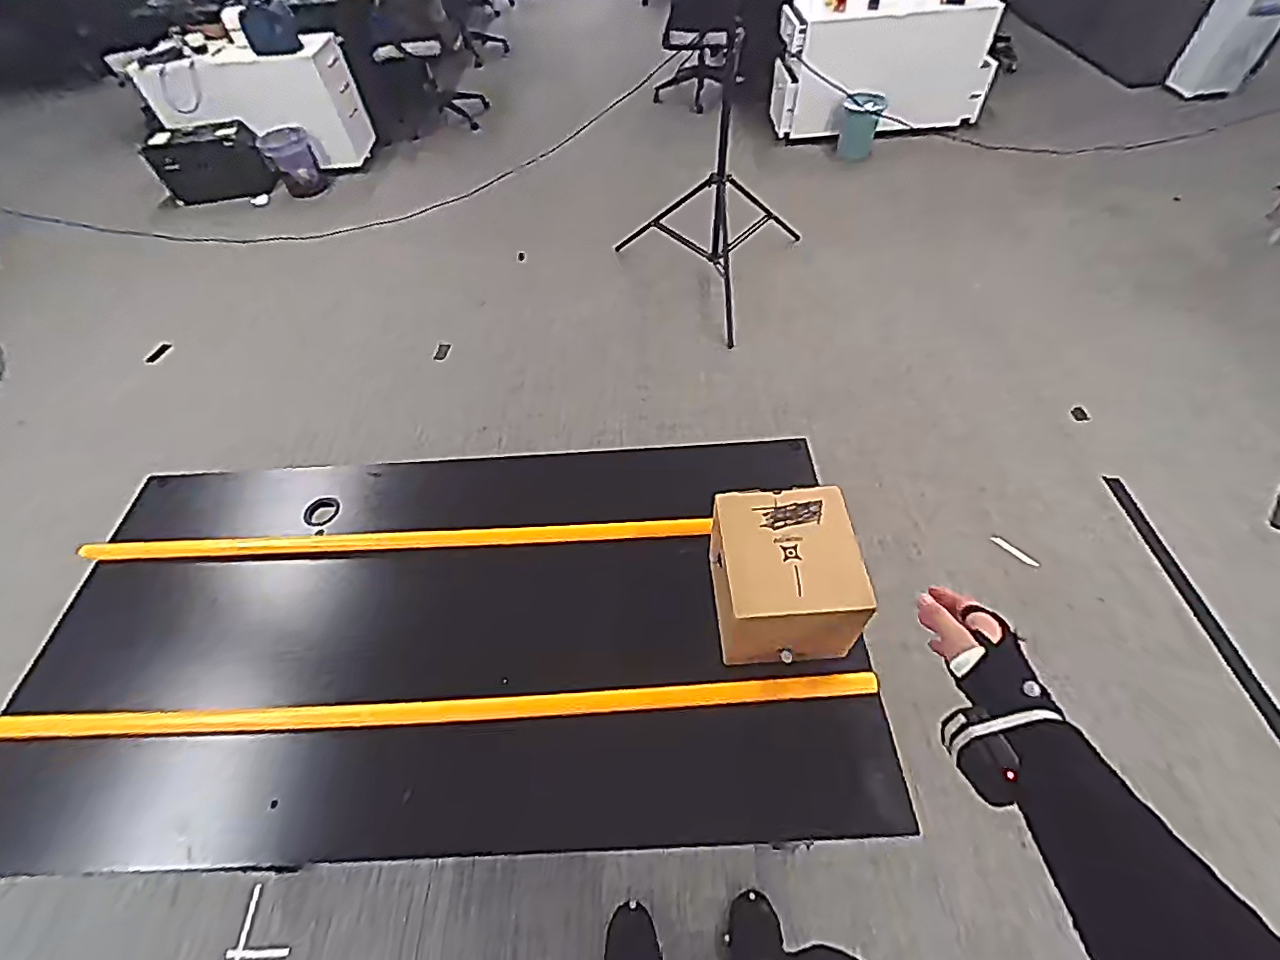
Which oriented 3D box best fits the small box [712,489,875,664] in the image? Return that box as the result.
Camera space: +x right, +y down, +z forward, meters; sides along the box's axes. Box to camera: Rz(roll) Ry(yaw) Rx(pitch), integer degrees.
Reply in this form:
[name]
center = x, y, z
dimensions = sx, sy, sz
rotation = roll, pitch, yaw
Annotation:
[small box]
center = 0.191, 0.134, 0.735
dimensions = 0.168, 0.176, 0.179
rotation = -4, 53, 2
